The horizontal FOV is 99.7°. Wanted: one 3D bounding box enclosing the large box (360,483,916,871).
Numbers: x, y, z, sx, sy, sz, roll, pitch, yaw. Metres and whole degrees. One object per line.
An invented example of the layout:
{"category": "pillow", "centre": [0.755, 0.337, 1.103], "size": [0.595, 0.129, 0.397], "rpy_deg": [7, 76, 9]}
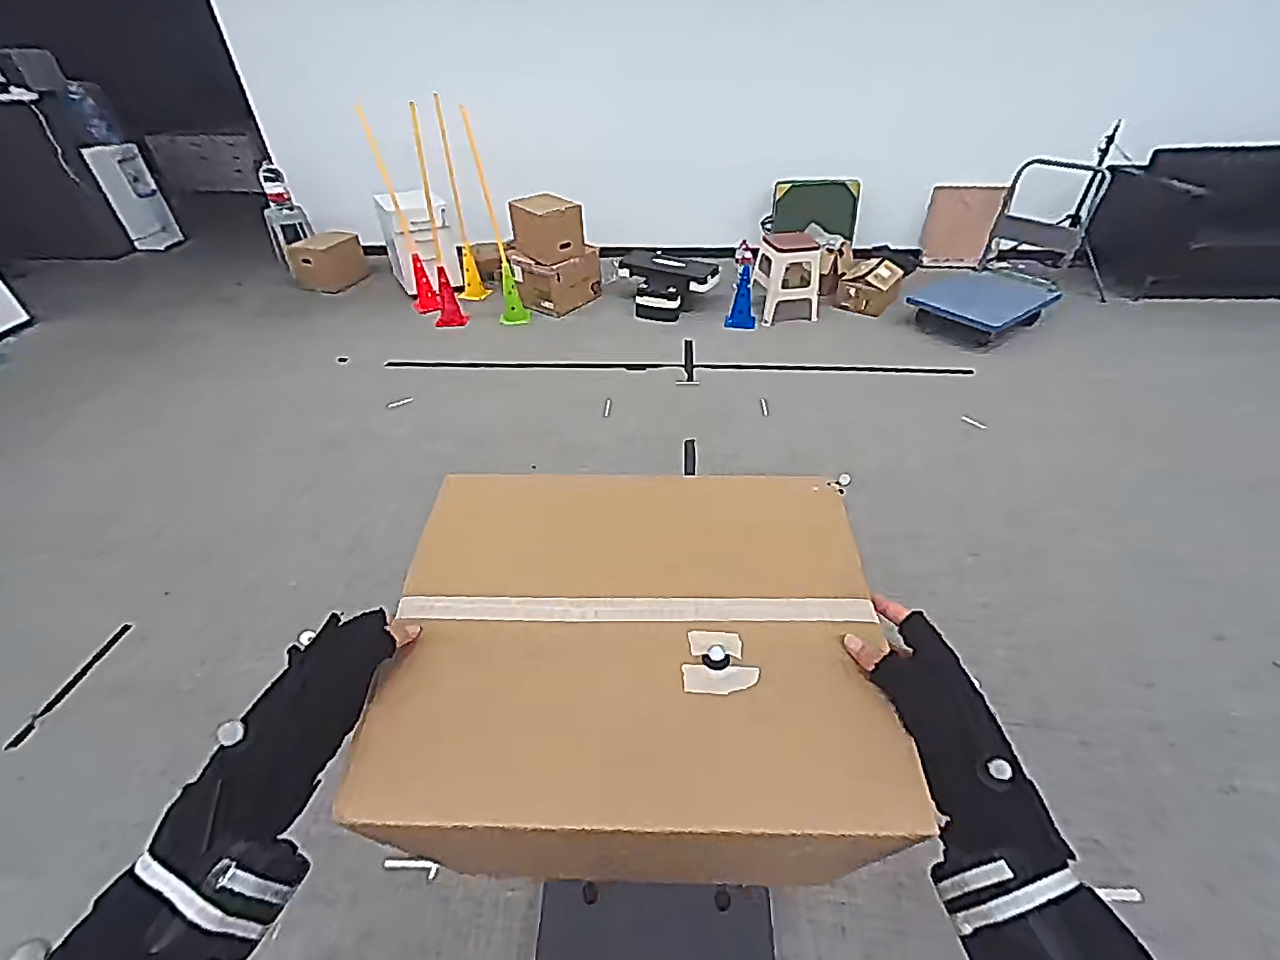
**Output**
{"category": "large box", "centre": [-0.001, 0.217, 0.588], "size": [0.408, 0.320, 0.320], "rpy_deg": [1, 49, 1]}
